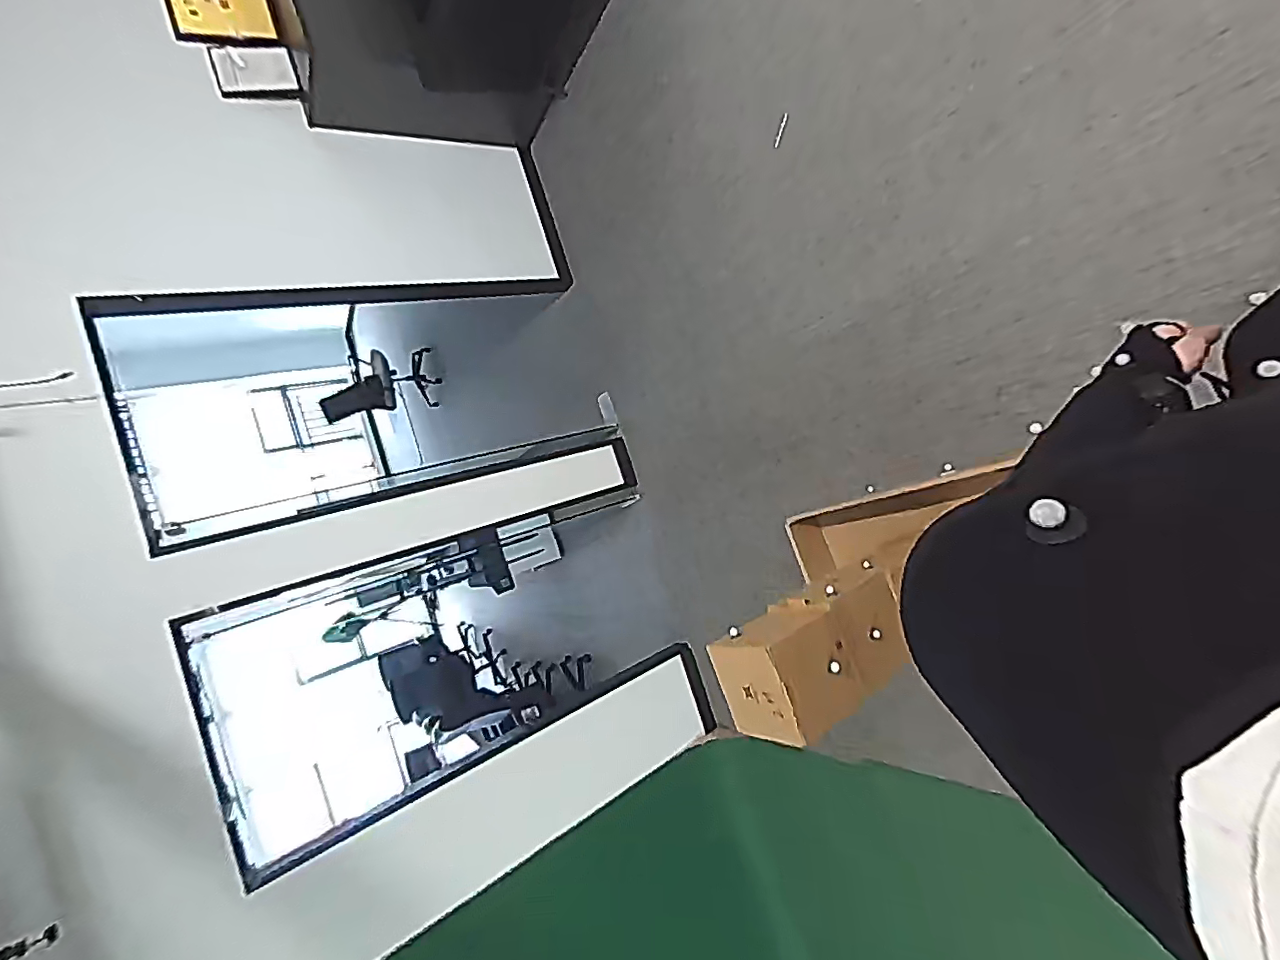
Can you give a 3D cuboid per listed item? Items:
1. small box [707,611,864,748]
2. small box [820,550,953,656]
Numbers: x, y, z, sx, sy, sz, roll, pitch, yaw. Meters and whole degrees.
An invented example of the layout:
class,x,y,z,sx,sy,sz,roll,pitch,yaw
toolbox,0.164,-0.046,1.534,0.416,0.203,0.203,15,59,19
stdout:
class,x,y,z,sx,sy,sz,roll,pitch,yaw
small box,0.256,0.344,0.962,0.179,0.176,0.168,-29,80,58
small box,0.522,0.255,1.136,0.179,0.176,0.168,-26,81,58
